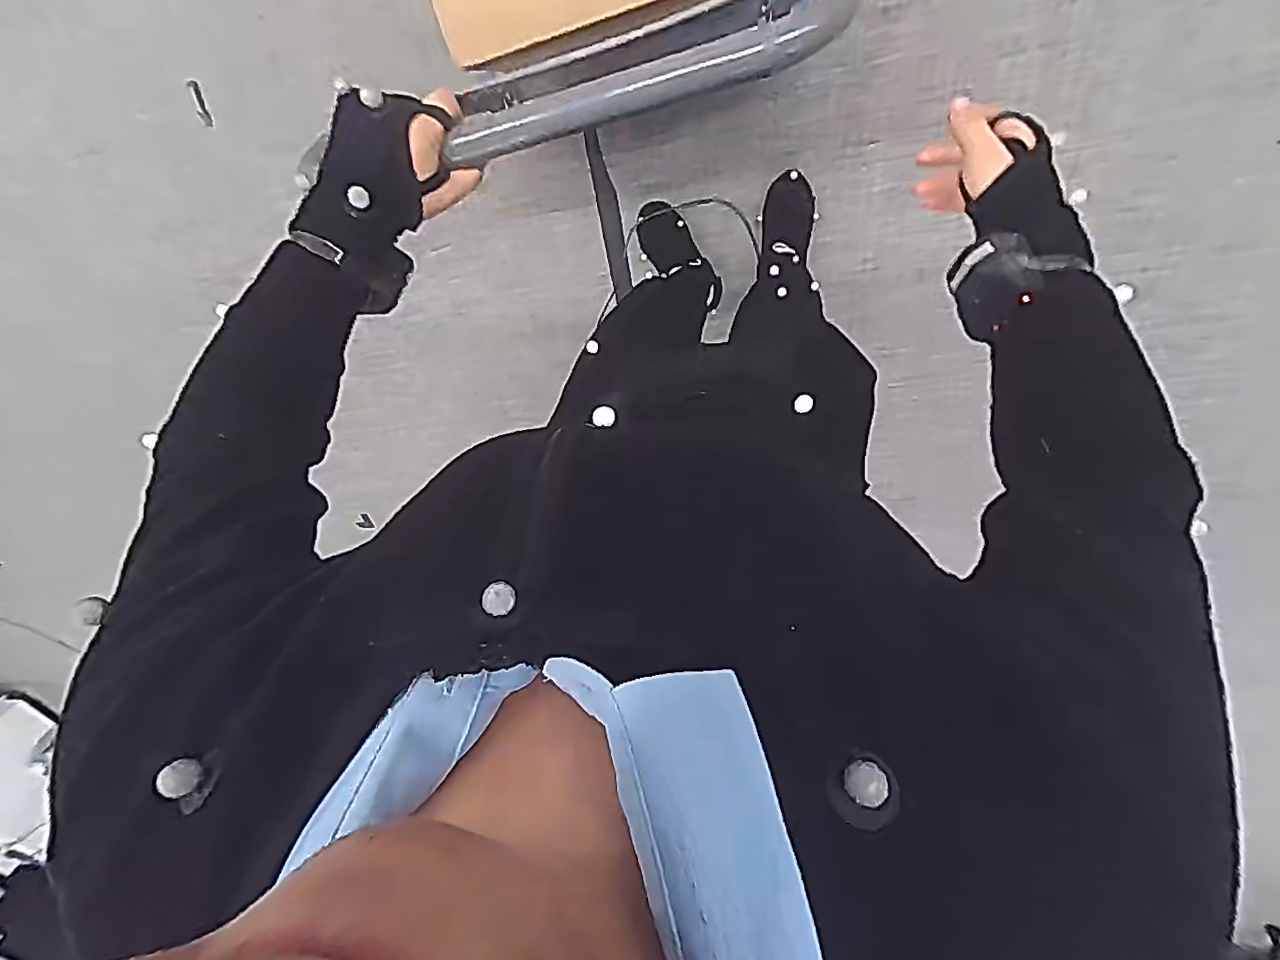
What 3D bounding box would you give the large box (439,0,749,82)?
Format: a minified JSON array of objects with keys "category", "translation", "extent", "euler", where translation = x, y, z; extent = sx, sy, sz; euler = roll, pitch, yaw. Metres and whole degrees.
[{"category":"large box","translation":[-0.067,-0.779,0.723],"extent":[0.408,0.320,0.320],"euler":[-8,124,14]}]
